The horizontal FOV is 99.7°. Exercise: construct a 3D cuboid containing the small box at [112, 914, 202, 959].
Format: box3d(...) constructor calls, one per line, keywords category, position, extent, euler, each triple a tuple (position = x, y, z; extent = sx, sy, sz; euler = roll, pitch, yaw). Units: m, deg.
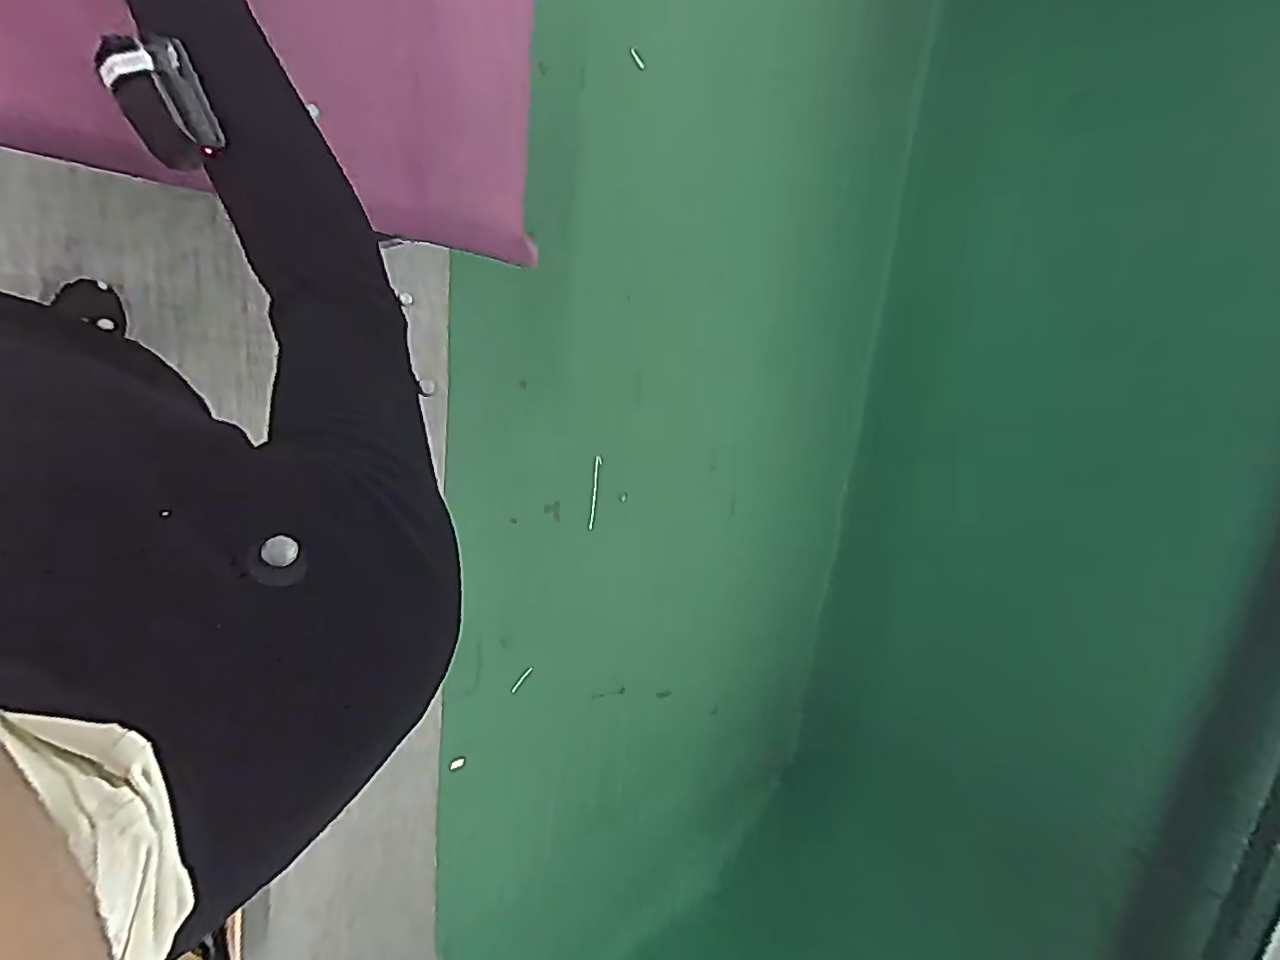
box3d(category="small box", position=(-1.239, 1.286, 1.388), extent=(0.168, 0.176, 0.179), euler=(-2, 105, -46))
